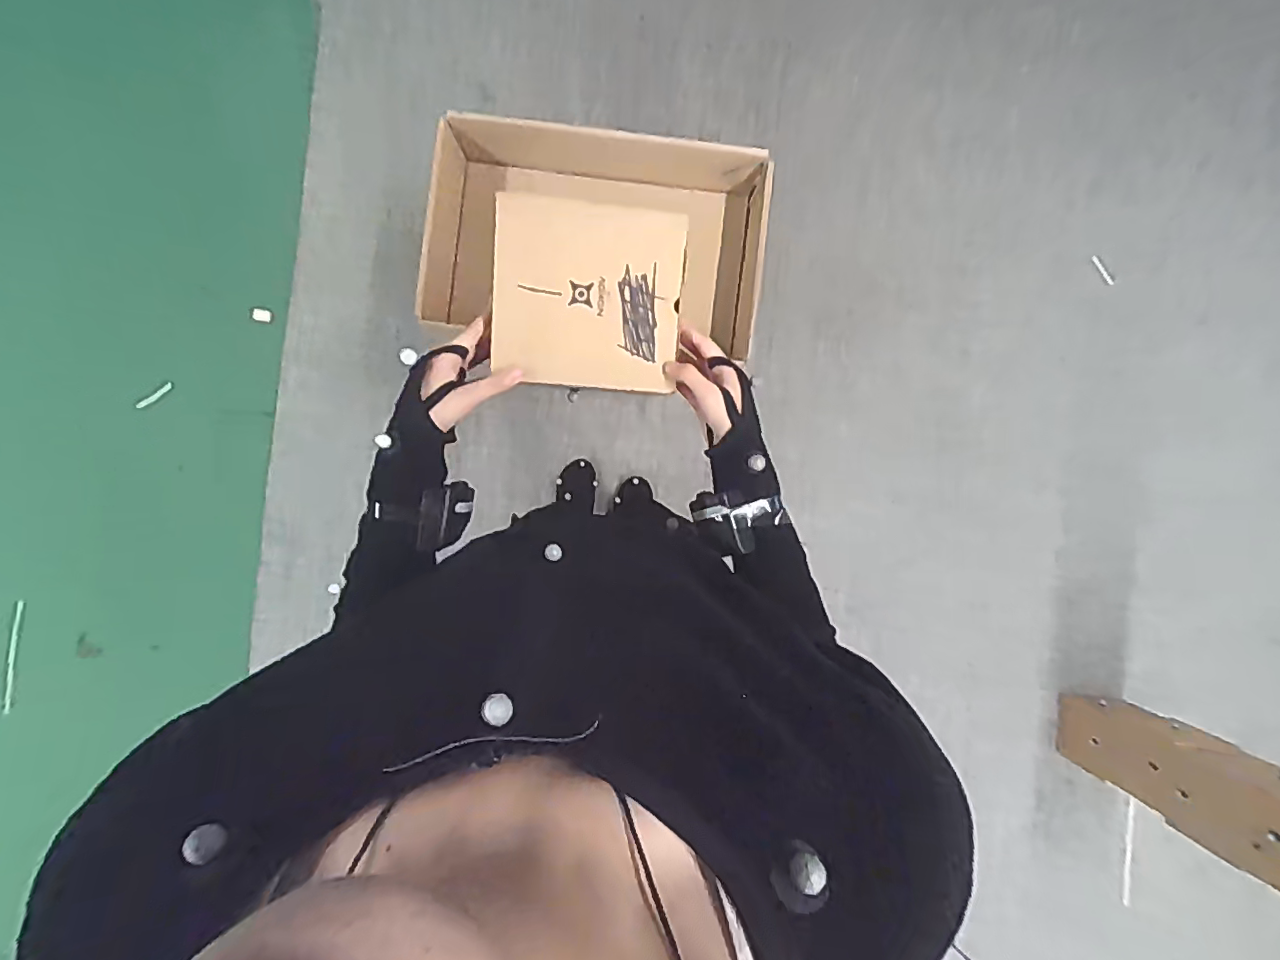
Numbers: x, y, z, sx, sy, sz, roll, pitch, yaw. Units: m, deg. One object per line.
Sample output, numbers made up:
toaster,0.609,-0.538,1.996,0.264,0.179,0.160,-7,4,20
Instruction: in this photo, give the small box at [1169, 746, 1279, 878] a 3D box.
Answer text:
small box,1.246,0.678,1.109,0.168,0.176,0.179,3,89,0

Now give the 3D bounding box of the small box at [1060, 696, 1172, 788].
small box,1.261,0.691,1.435,0.168,0.176,0.179,5,89,0

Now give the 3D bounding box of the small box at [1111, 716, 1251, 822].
small box,1.262,0.678,1.272,0.168,0.176,0.179,5,89,1
